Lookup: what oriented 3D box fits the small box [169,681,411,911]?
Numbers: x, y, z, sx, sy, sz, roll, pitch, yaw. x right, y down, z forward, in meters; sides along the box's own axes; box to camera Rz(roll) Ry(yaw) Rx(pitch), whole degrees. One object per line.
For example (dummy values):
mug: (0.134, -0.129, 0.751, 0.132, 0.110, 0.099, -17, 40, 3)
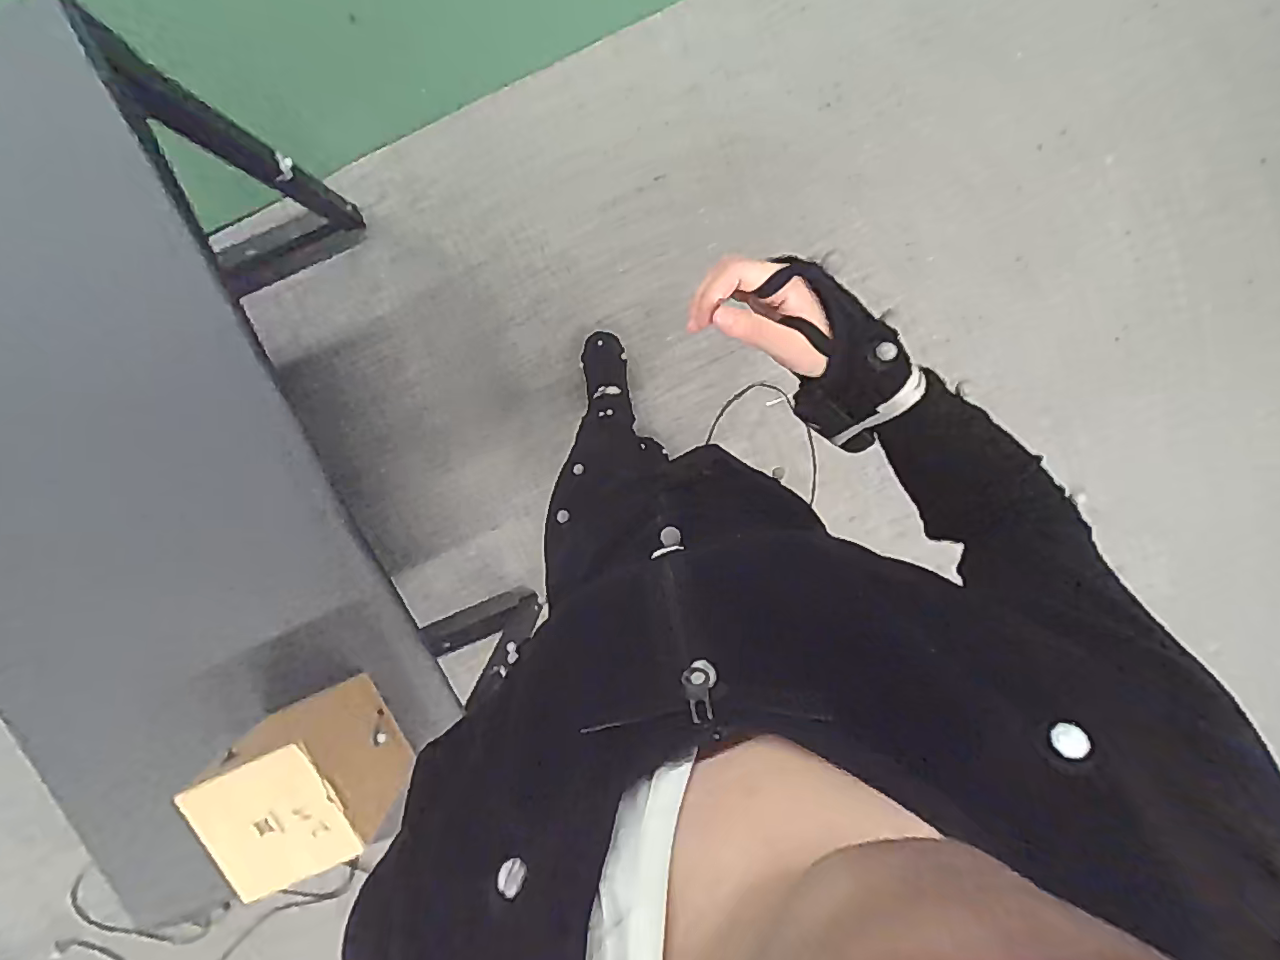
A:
small box: (-0.446, 0.406, 0.722, 0.179, 0.176, 0.168, -25, 98, 3)
